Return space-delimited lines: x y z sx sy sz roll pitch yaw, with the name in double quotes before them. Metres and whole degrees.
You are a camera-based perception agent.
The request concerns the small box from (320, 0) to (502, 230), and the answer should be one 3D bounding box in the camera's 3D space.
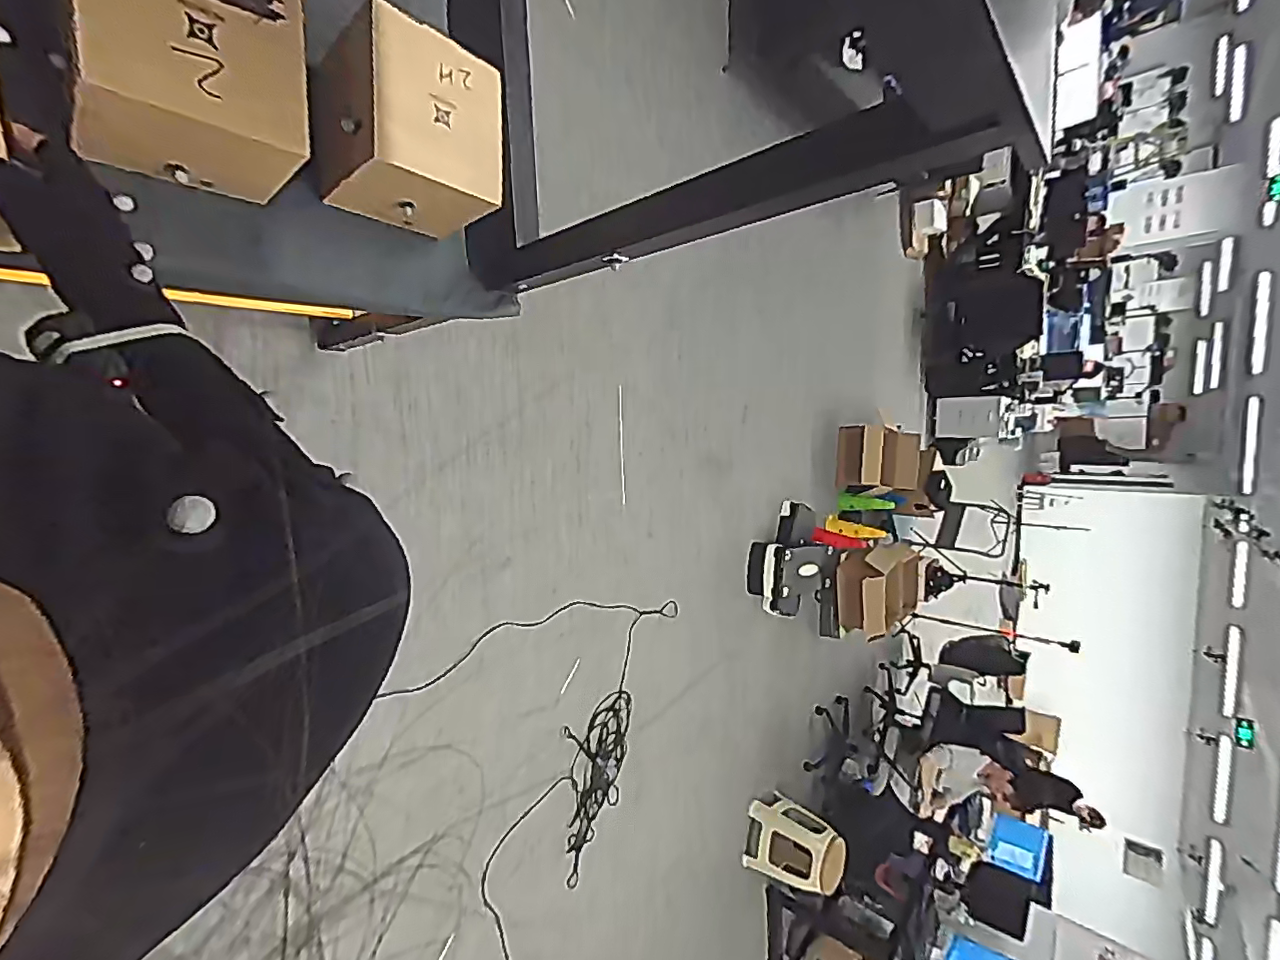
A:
"small box" -0.298 -0.451 0.703 0.168 0.176 0.179 -3 95 -48
